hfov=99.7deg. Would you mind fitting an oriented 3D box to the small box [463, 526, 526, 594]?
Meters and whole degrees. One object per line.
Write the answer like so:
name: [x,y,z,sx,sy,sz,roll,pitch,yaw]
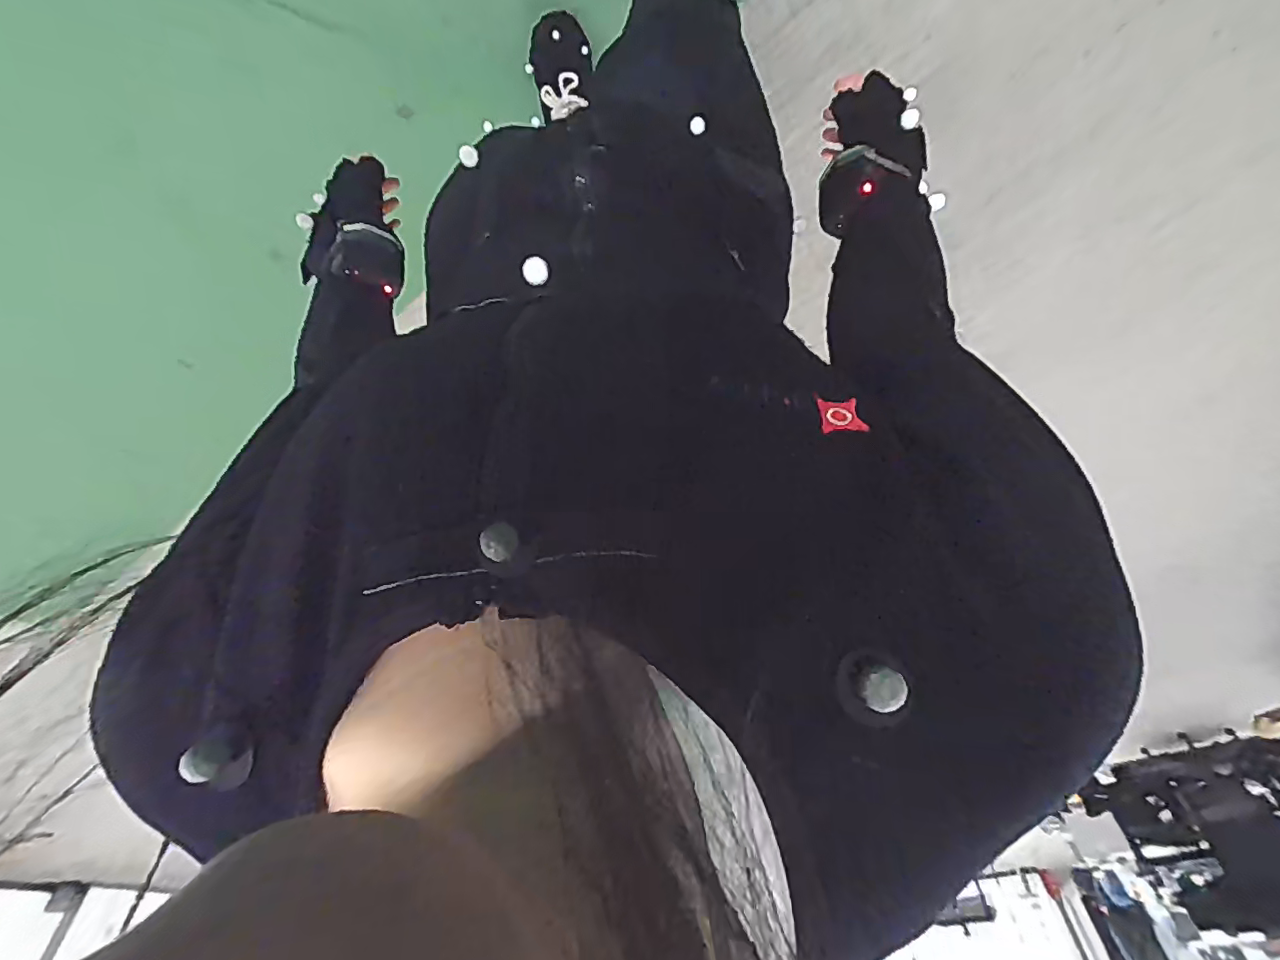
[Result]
small box: [-0.561,0.311,2.114,0.179,0.176,0.168,-33,129,26]
